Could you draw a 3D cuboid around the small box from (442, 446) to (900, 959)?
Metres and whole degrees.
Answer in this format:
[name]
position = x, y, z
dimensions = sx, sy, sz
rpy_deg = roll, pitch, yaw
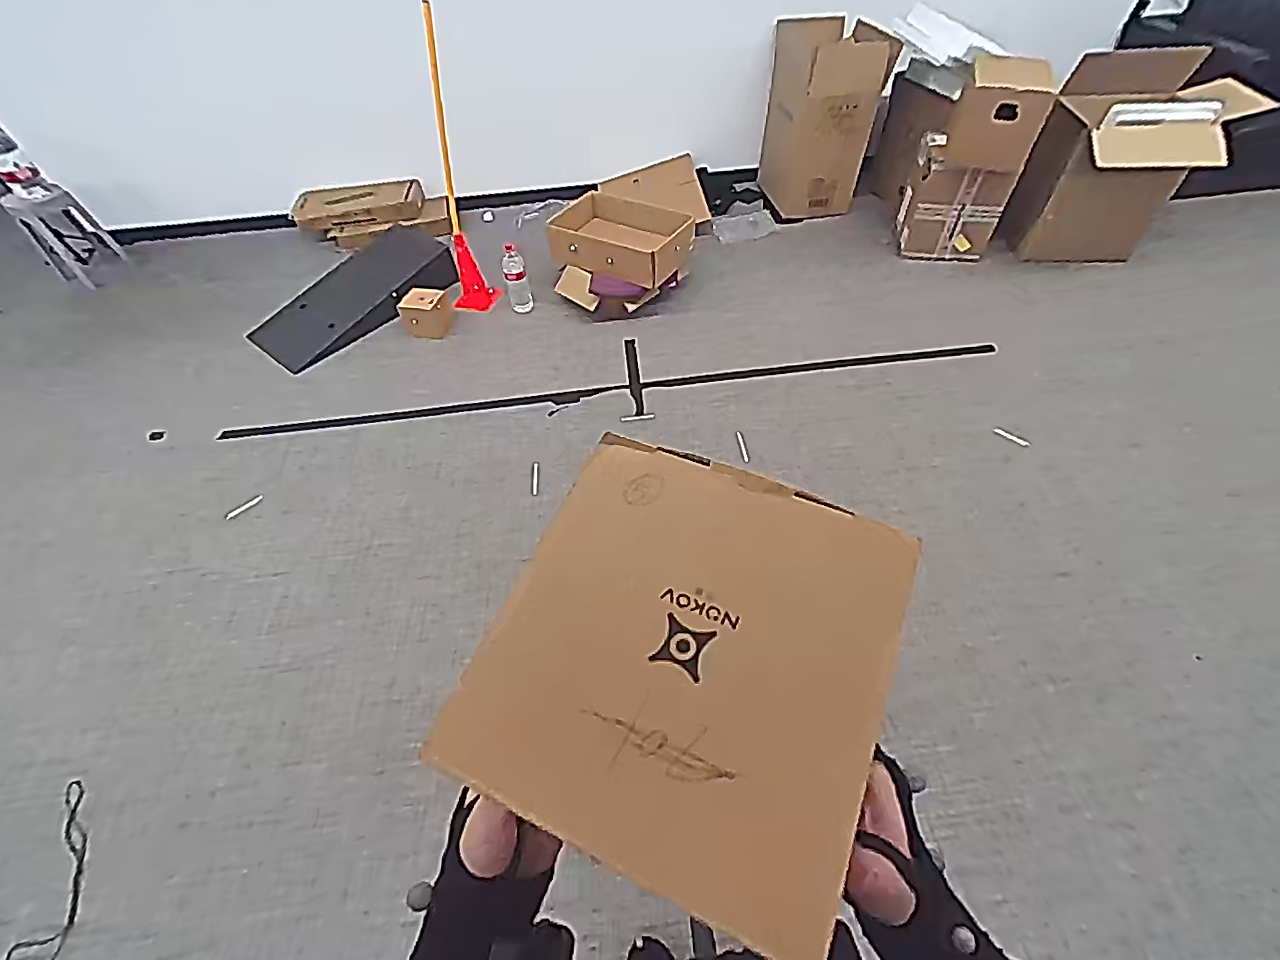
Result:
[small box]
position = 0.026, 0.115, 0.318
dimensions = 0.168, 0.176, 0.179
rpy_deg = 19, 64, 16
